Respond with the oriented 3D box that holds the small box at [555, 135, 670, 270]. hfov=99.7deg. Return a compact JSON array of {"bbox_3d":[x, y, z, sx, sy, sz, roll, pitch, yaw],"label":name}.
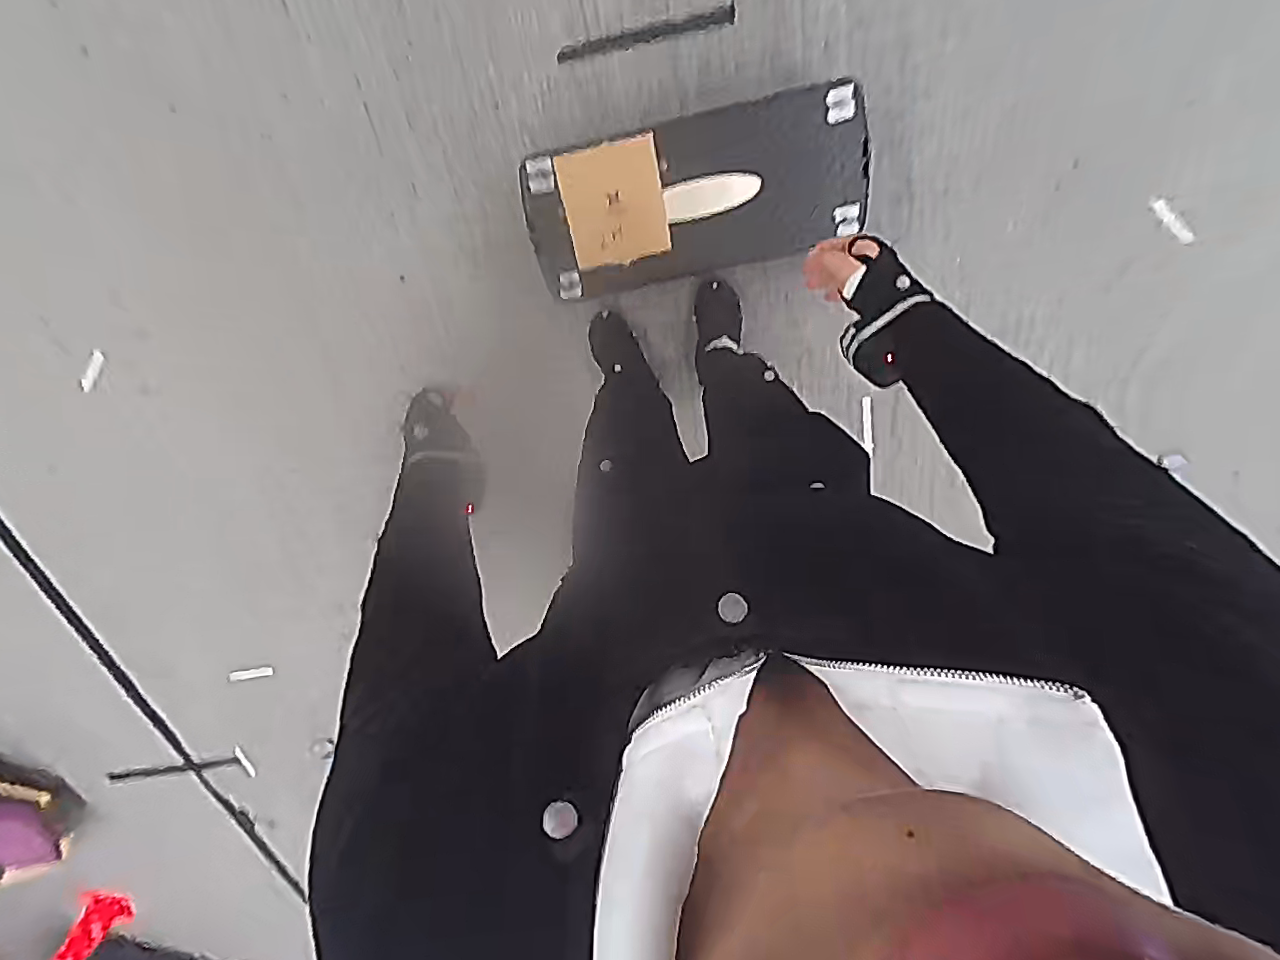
[{"bbox_3d":[-0.046,-0.487,0.967,0.168,0.176,0.179,-11,115,4],"label":"small box"}]
